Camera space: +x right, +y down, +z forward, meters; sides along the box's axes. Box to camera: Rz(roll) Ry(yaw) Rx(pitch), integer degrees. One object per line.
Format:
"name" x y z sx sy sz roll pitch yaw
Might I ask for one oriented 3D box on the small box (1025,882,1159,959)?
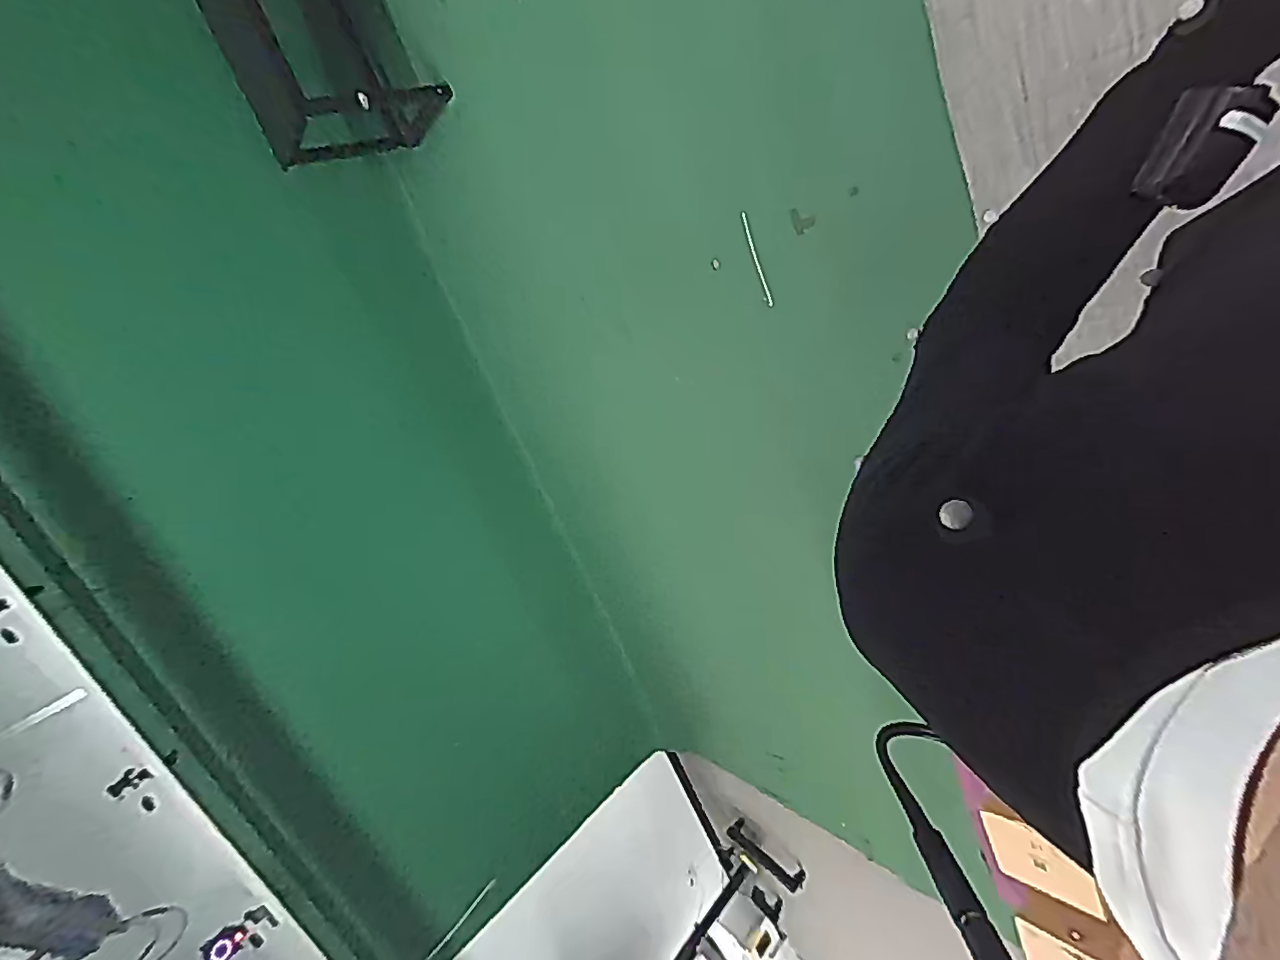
"small box" 0.923 0.921 1.101 0.168 0.176 0.179 -1 117 54

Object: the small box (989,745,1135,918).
"small box" 0.799 0.649 1.020 0.168 0.176 0.179 -5 113 54
